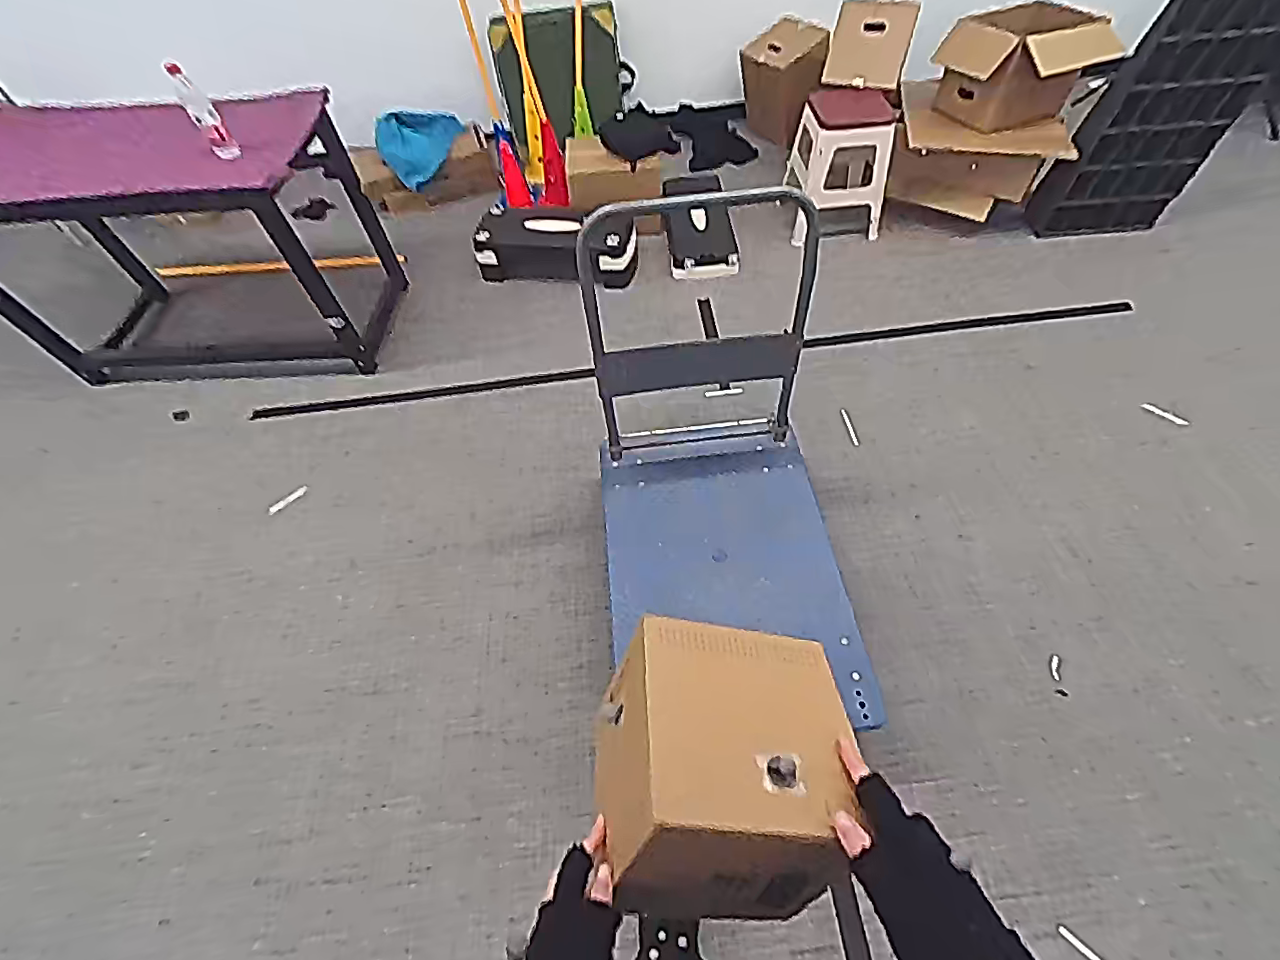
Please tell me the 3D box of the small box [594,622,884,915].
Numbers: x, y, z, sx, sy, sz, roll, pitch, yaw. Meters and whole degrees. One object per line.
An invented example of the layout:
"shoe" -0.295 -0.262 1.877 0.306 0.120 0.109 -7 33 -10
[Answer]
"small box" 0.065 0.247 0.471 0.179 0.168 0.176 13 34 -11
